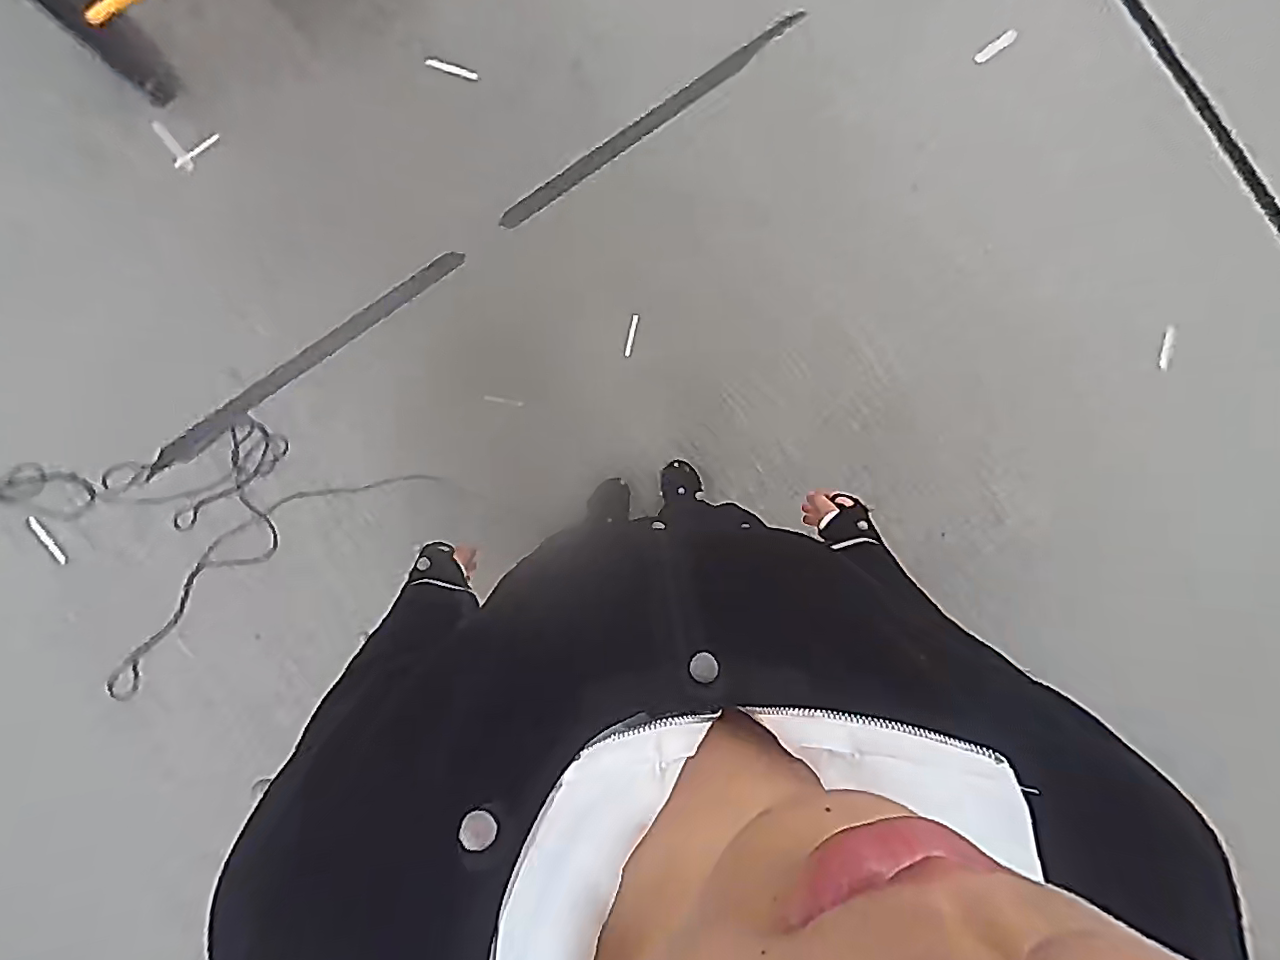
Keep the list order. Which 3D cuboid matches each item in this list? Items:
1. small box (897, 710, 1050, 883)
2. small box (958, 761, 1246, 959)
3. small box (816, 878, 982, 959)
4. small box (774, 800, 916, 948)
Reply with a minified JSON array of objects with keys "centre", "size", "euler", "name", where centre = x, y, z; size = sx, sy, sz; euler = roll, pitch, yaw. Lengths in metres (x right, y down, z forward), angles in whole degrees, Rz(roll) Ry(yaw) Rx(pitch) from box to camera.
[{"centre":[0.542,0.495,0.831],"size":[0.168,0.176,0.179],"euler":[-36,90,-3],"name":"small box"},{"centre":[0.547,0.494,0.667],"size":[0.179,0.176,0.168],"euler":[-37,91,-2],"name":"small box"},{"centre":[0.347,0.635,0.653],"size":[0.168,0.176,0.179],"euler":[-37,91,-4],"name":"small box"},{"centre":[0.334,0.638,0.817],"size":[0.168,0.176,0.179],"euler":[-36,91,-5],"name":"small box"}]
